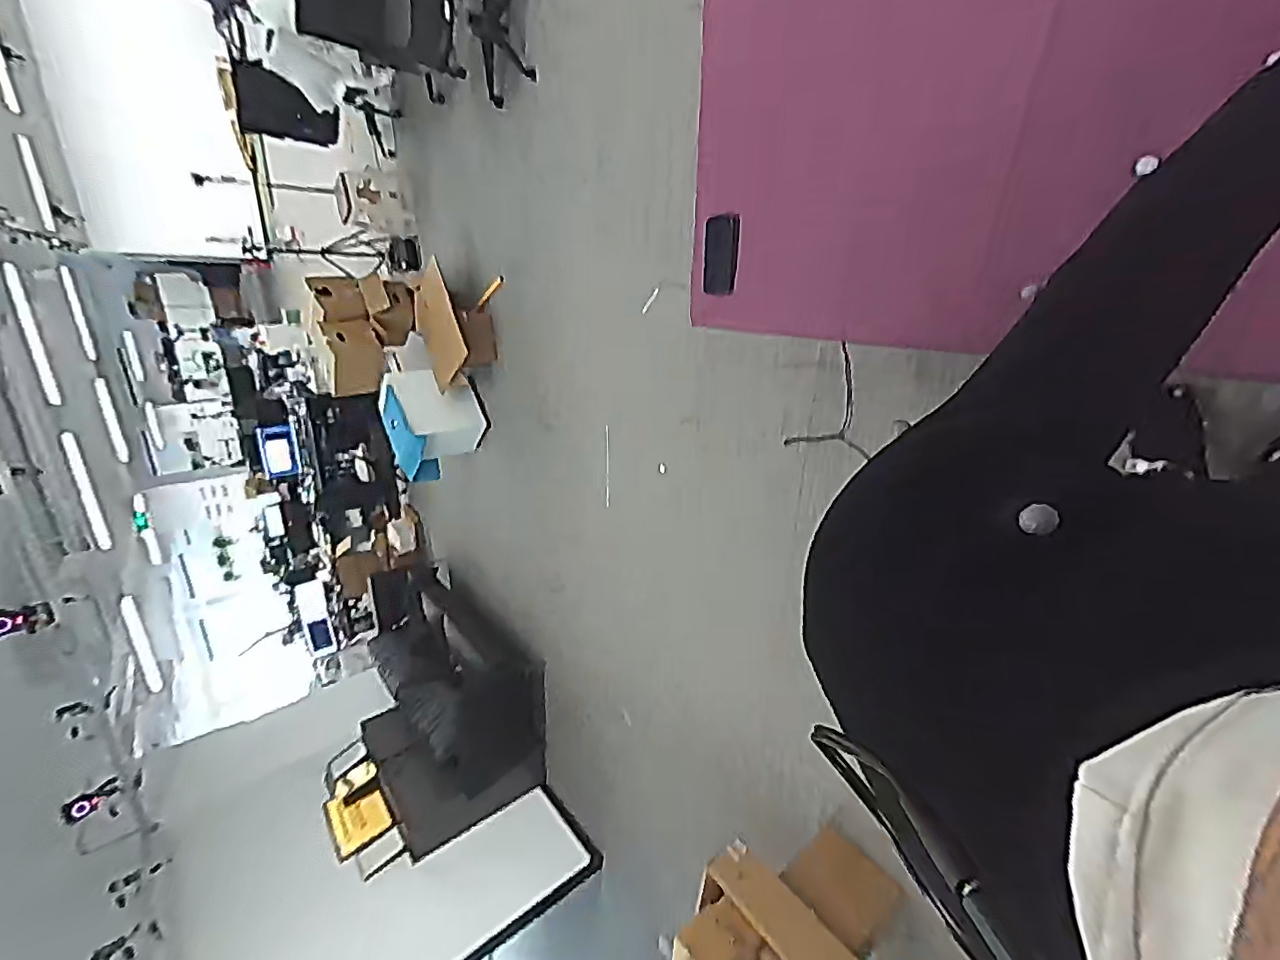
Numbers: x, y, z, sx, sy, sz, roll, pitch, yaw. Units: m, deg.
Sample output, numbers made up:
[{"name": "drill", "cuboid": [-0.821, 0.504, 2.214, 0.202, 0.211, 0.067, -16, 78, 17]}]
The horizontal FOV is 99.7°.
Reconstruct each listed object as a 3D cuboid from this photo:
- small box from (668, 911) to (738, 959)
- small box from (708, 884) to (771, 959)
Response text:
[{"name": "small box", "cuboid": [0.212, 1.624, 1.825, 0.168, 0.176, 0.179, 27, 121, 45]}, {"name": "small box", "cuboid": [0.343, 1.603, 1.922, 0.168, 0.176, 0.179, 32, 124, 43]}]
